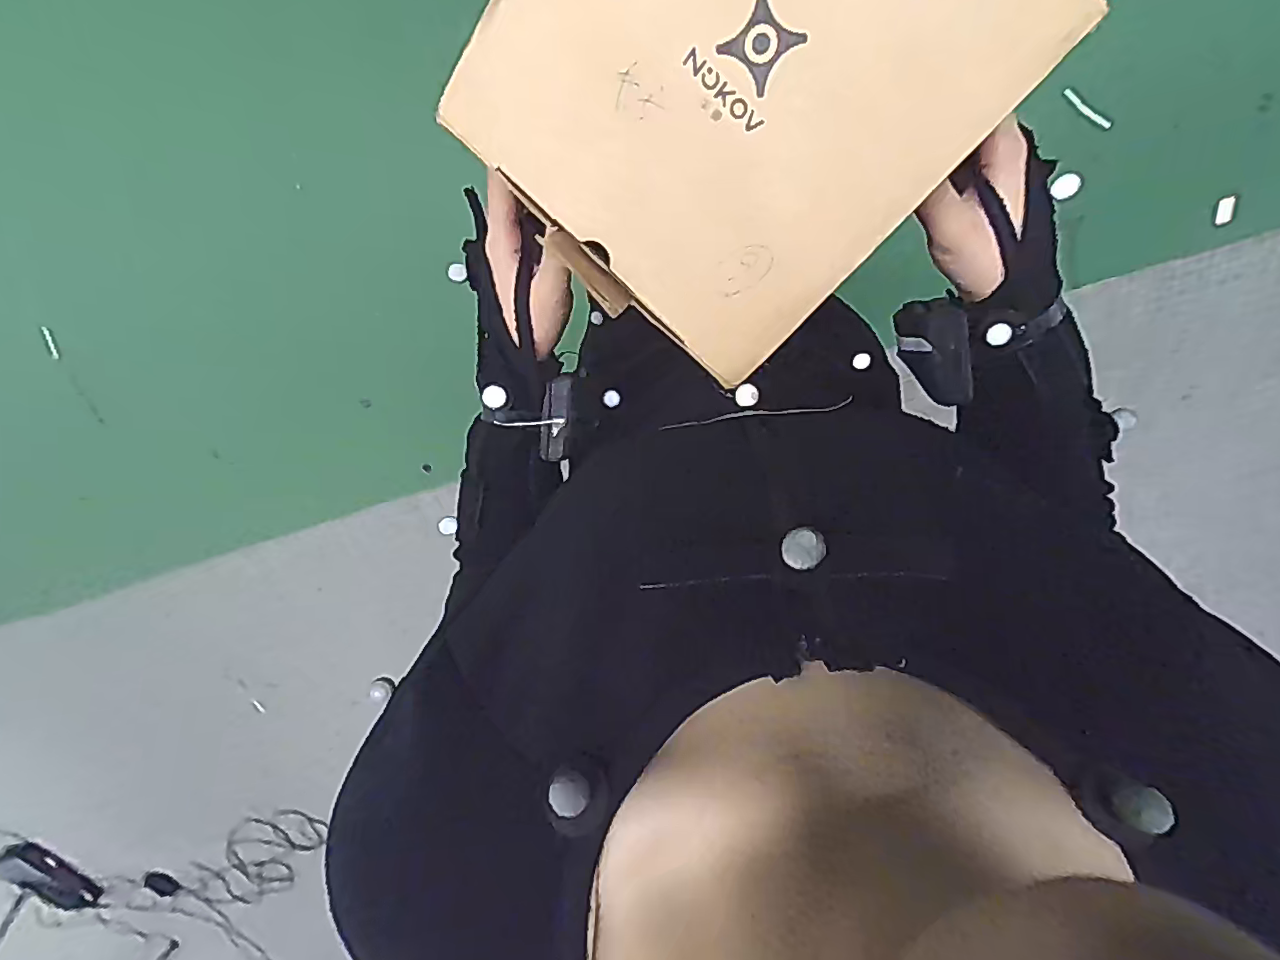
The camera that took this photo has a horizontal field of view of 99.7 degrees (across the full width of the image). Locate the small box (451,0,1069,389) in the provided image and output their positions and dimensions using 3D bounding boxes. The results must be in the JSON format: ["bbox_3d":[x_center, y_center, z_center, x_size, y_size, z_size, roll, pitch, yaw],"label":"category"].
[{"bbox_3d":[0.046,-0.180,0.278,0.168,0.176,0.179,41,113,-10],"label":"small box"}]
